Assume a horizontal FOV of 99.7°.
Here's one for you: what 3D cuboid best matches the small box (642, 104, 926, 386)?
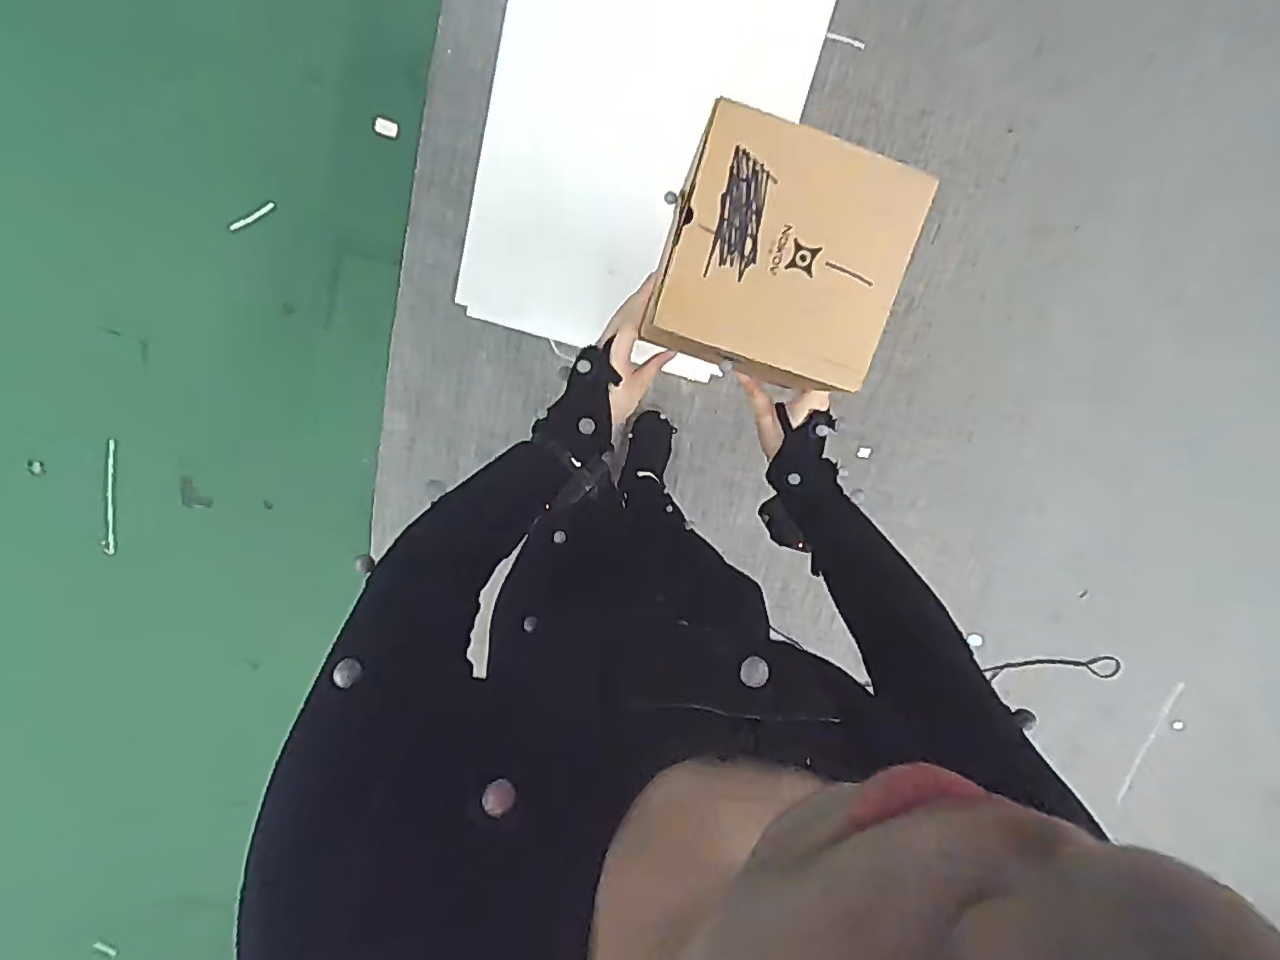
[{"bbox_3d":[0.107,-0.188,0.491,0.179,0.176,0.168,16,99,-7],"label":"small box"}]
